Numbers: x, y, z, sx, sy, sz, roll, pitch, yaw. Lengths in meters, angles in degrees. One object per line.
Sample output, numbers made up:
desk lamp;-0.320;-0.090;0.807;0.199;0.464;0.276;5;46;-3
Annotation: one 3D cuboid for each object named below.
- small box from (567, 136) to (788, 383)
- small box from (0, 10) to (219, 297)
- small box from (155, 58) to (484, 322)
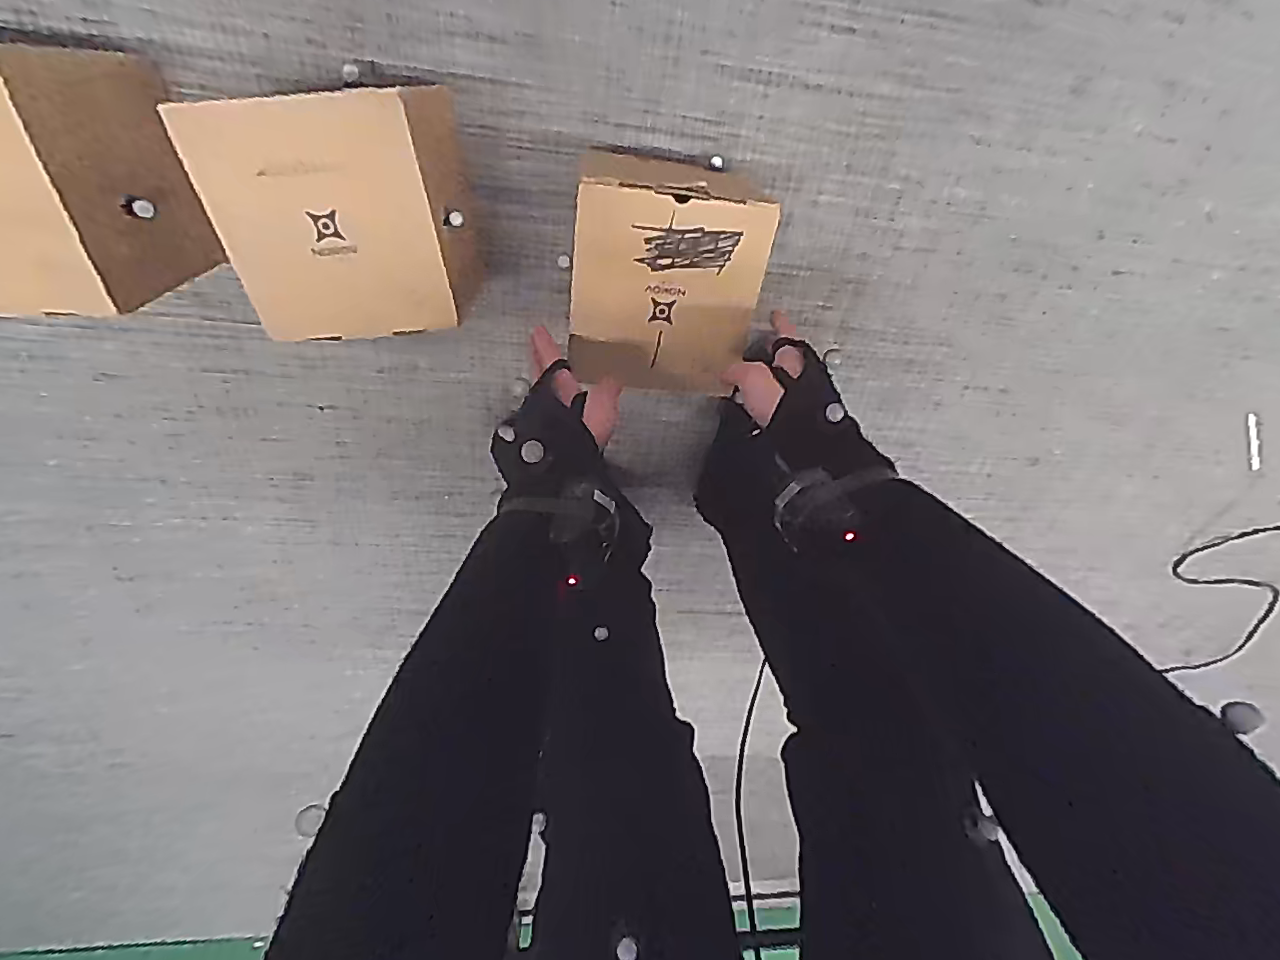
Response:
small box;0.020;-0.217;0.525;0.168;0.176;0.179;5;128;-7
small box;-0.500;-0.271;0.444;0.168;0.176;0.179;2;128;-6
small box;-0.246;-0.257;0.477;0.168;0.176;0.179;-5;126;-2
